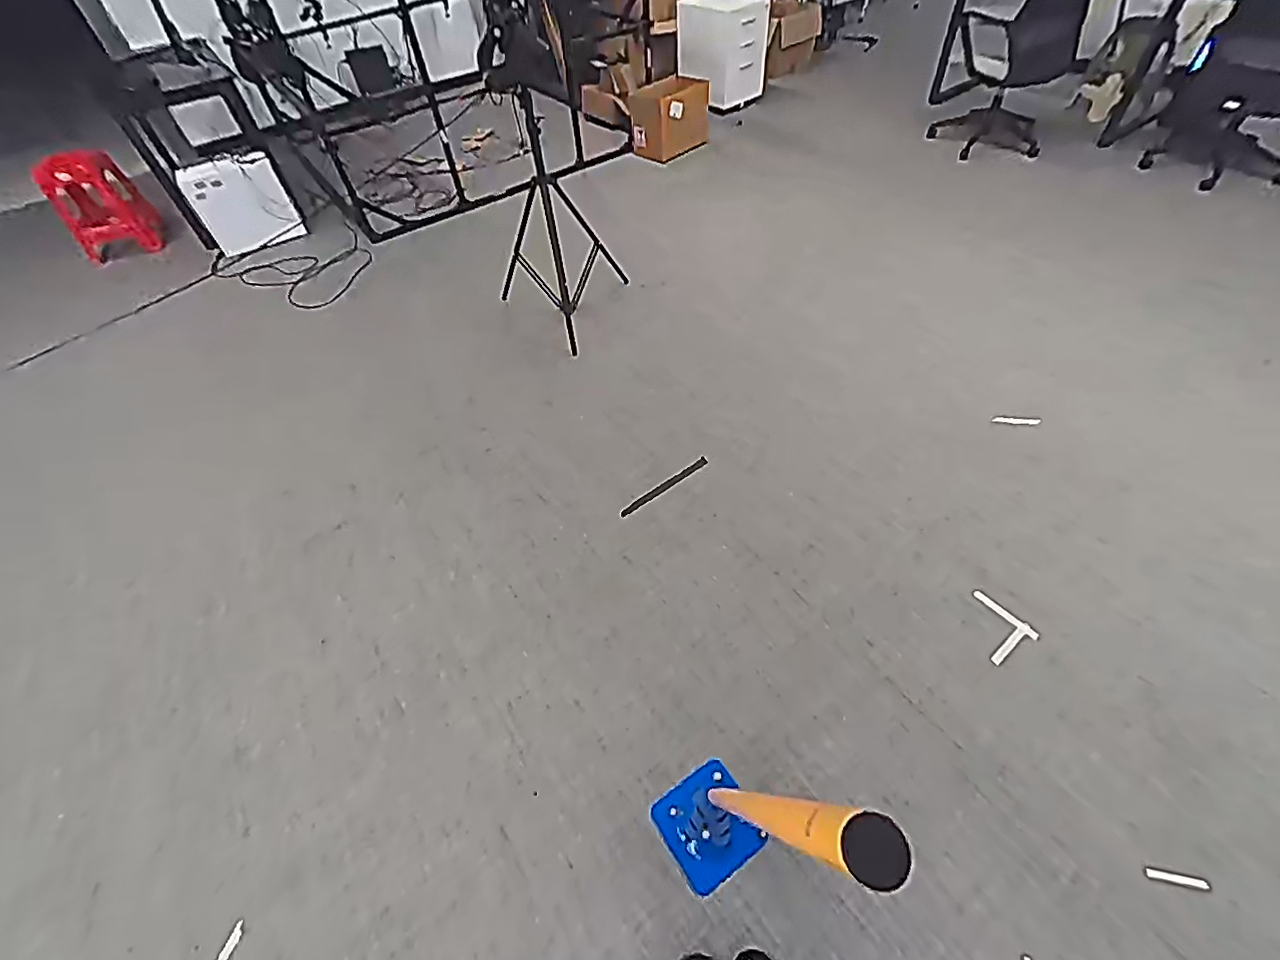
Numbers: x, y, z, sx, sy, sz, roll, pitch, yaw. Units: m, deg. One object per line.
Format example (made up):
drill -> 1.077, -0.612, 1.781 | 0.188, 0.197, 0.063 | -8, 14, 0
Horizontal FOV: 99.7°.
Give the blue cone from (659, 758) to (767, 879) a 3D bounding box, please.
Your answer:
blue cone -> 0.147, 0.643, 1.074 | 0.192, 0.380, 0.193 | -28, 54, -17
